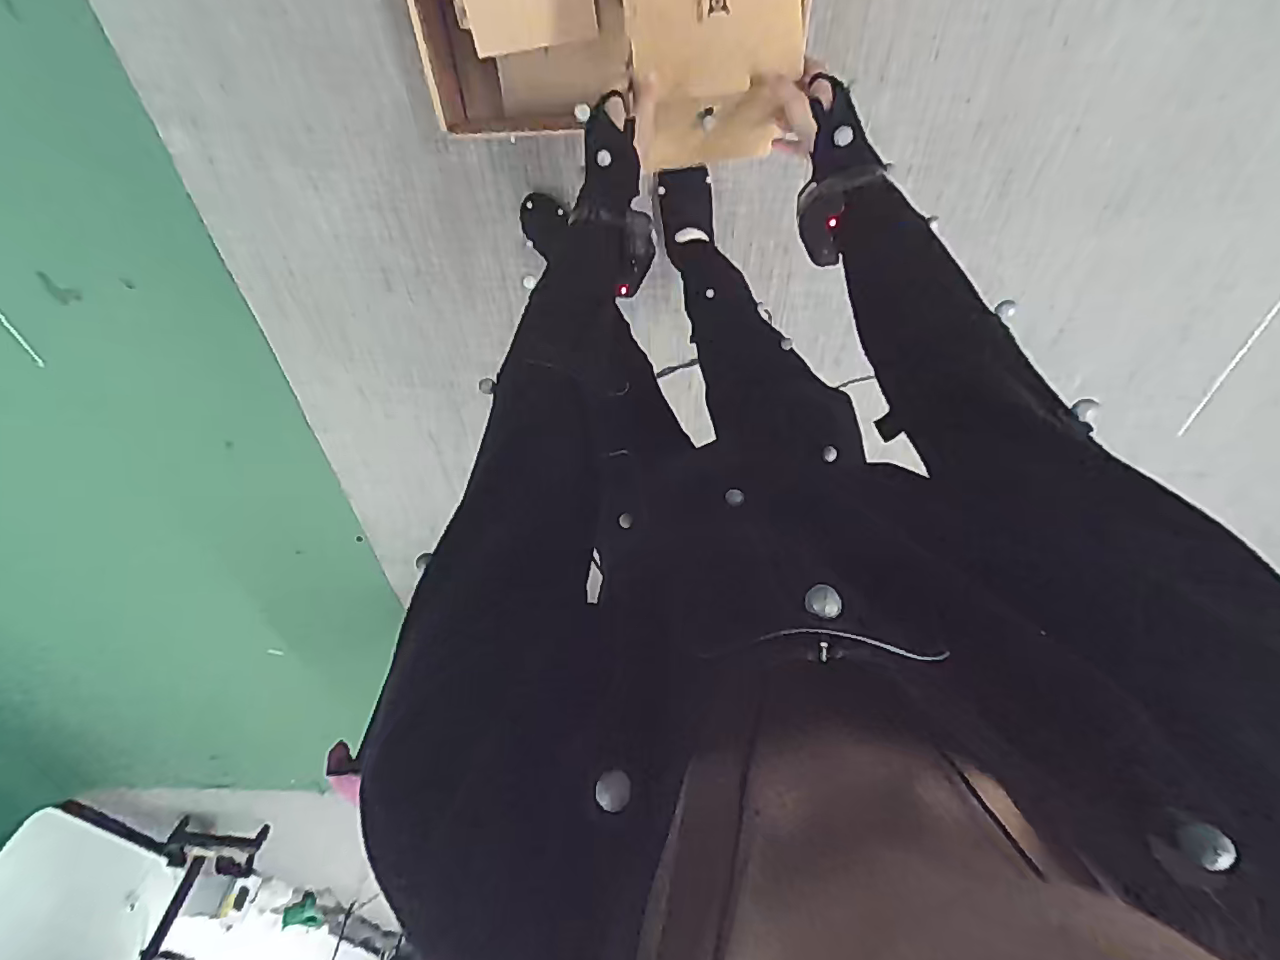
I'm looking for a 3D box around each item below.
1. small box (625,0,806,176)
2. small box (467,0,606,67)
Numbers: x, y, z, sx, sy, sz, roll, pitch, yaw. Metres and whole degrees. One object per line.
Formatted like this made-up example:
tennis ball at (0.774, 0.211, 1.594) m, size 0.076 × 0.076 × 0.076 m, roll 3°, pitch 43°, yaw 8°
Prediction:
small box at (0.078, -0.479, 0.621) m, size 0.179 × 0.176 × 0.168 m, roll -6°, pitch 96°, yaw 5°
small box at (-0.142, -0.686, 0.726) m, size 0.168 × 0.176 × 0.179 m, roll -7°, pitch 133°, yaw 5°
